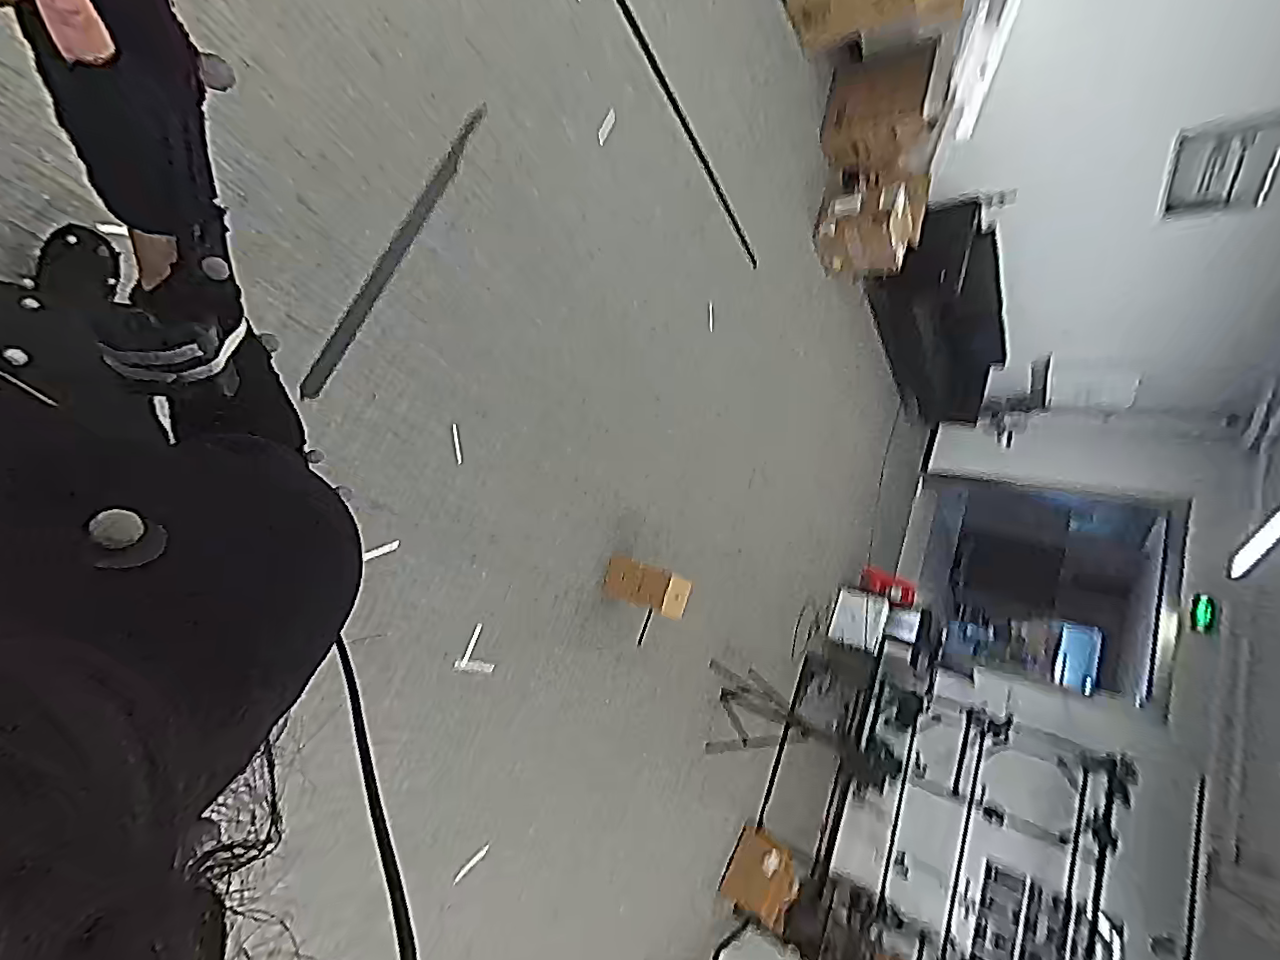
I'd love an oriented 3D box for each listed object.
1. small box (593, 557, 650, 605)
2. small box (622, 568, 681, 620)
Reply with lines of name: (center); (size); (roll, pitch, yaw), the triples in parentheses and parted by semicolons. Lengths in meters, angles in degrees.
small box: (-0.086, 0.457, 2.418); (0.168, 0.176, 0.179); (28, 75, -52)
small box: (0.047, 0.487, 2.329); (0.179, 0.176, 0.168); (33, 72, -51)
